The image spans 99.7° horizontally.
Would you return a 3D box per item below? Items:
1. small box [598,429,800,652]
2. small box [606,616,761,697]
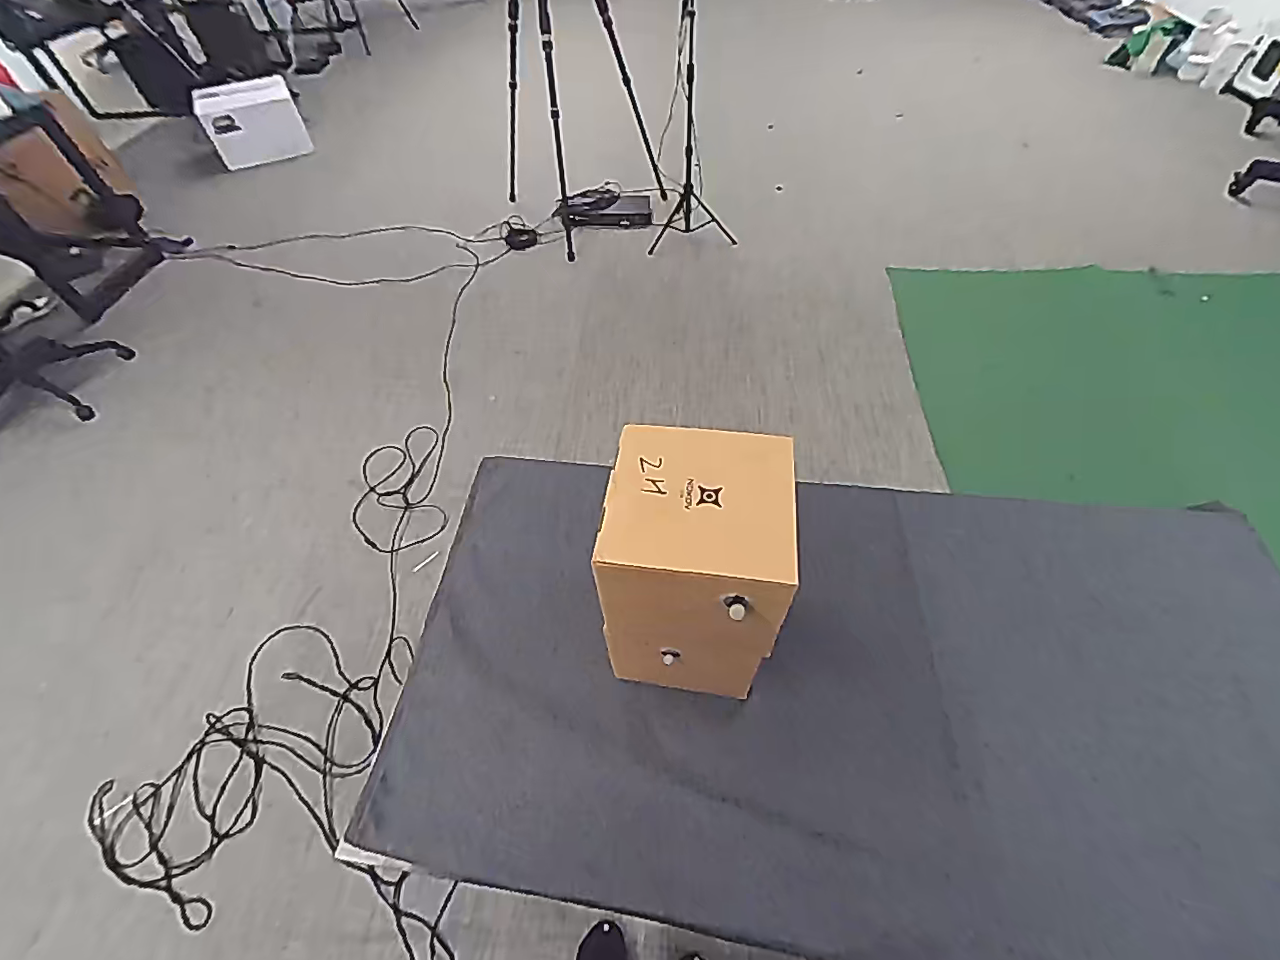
[{"bbox_3d":[0.062,0.069,0.574,0.179,0.176,0.168,6,51,7],"label":"small box"},{"bbox_3d":[0.062,0.167,0.707,0.179,0.176,0.168,7,52,7],"label":"small box"}]
